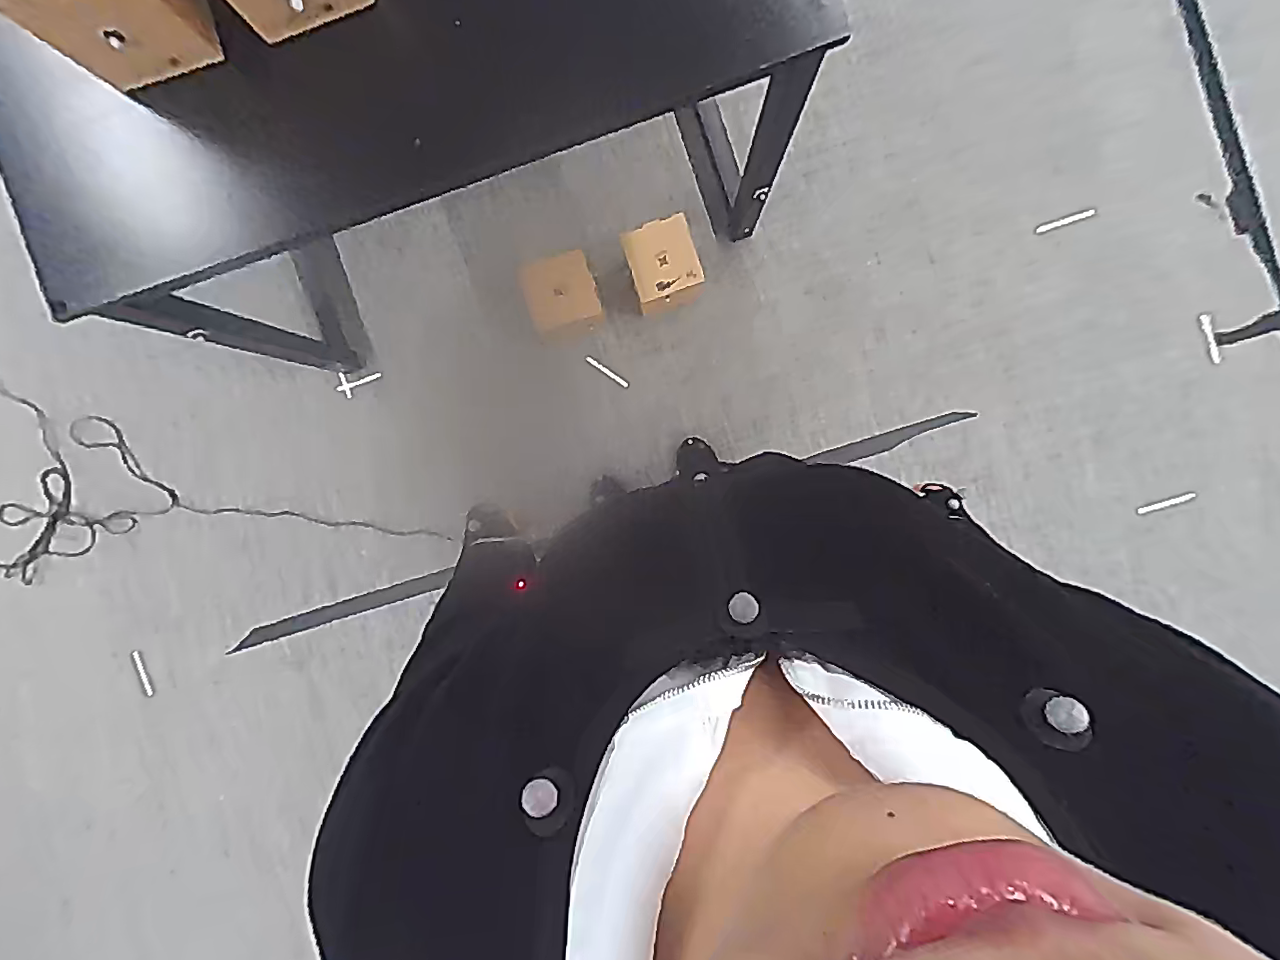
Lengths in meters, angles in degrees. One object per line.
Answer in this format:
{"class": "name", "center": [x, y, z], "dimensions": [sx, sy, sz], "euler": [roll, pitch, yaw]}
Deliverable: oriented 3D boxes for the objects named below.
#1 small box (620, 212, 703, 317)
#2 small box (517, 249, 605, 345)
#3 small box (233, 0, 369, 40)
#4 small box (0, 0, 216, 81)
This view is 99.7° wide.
{"class": "small box", "center": [0.055, -0.545, 1.391], "dimensions": [0.168, 0.176, 0.179], "euler": [-19, 92, 4]}
{"class": "small box", "center": [-0.196, -0.468, 1.407], "dimensions": [0.179, 0.176, 0.168], "euler": [-18, 91, 4]}
{"class": "small box", "center": [-0.478, -0.716, 0.673], "dimensions": [0.168, 0.176, 0.179], "euler": [-19, 94, 3]}
{"class": "small box", "center": [-0.692, -0.652, 0.685], "dimensions": [0.168, 0.176, 0.179], "euler": [-15, 92, 3]}
